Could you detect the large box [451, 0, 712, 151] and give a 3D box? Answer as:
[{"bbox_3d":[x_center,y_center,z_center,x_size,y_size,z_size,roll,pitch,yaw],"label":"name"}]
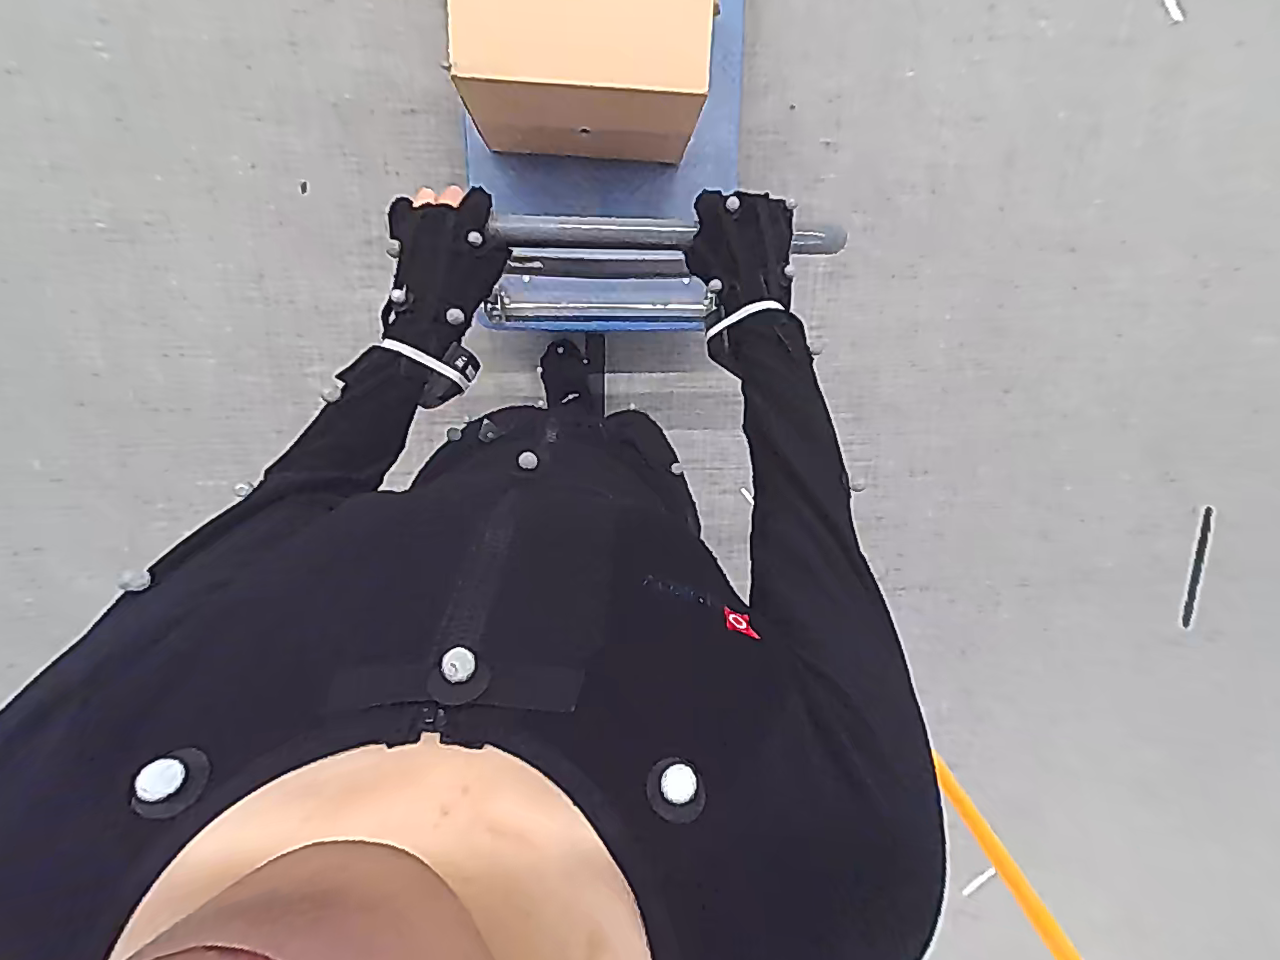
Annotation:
[{"bbox_3d":[-0.093,-0.810,0.957,0.408,0.320,0.320,1,102,-4],"label":"large box"}]
